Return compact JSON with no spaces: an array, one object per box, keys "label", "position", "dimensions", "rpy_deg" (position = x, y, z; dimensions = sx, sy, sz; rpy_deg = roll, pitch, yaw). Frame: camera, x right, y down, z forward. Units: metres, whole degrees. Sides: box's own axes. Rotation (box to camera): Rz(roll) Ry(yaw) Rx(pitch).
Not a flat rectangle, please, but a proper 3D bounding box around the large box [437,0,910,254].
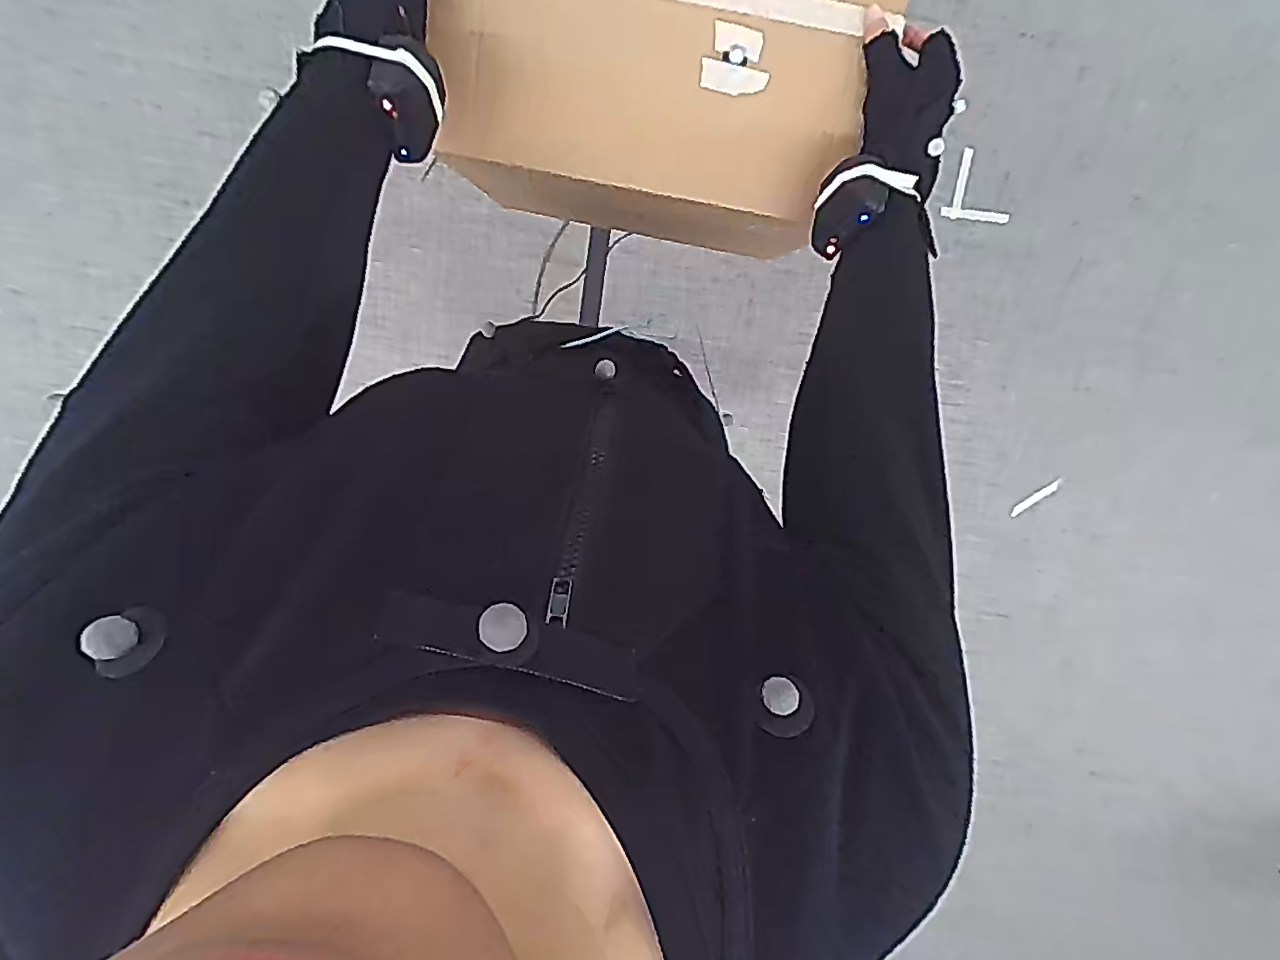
[{"label":"large box","position":[0.030,-0.463,0.605],"dimensions":[0.408,0.320,0.320],"rpy_deg":[10,108,-4]}]
